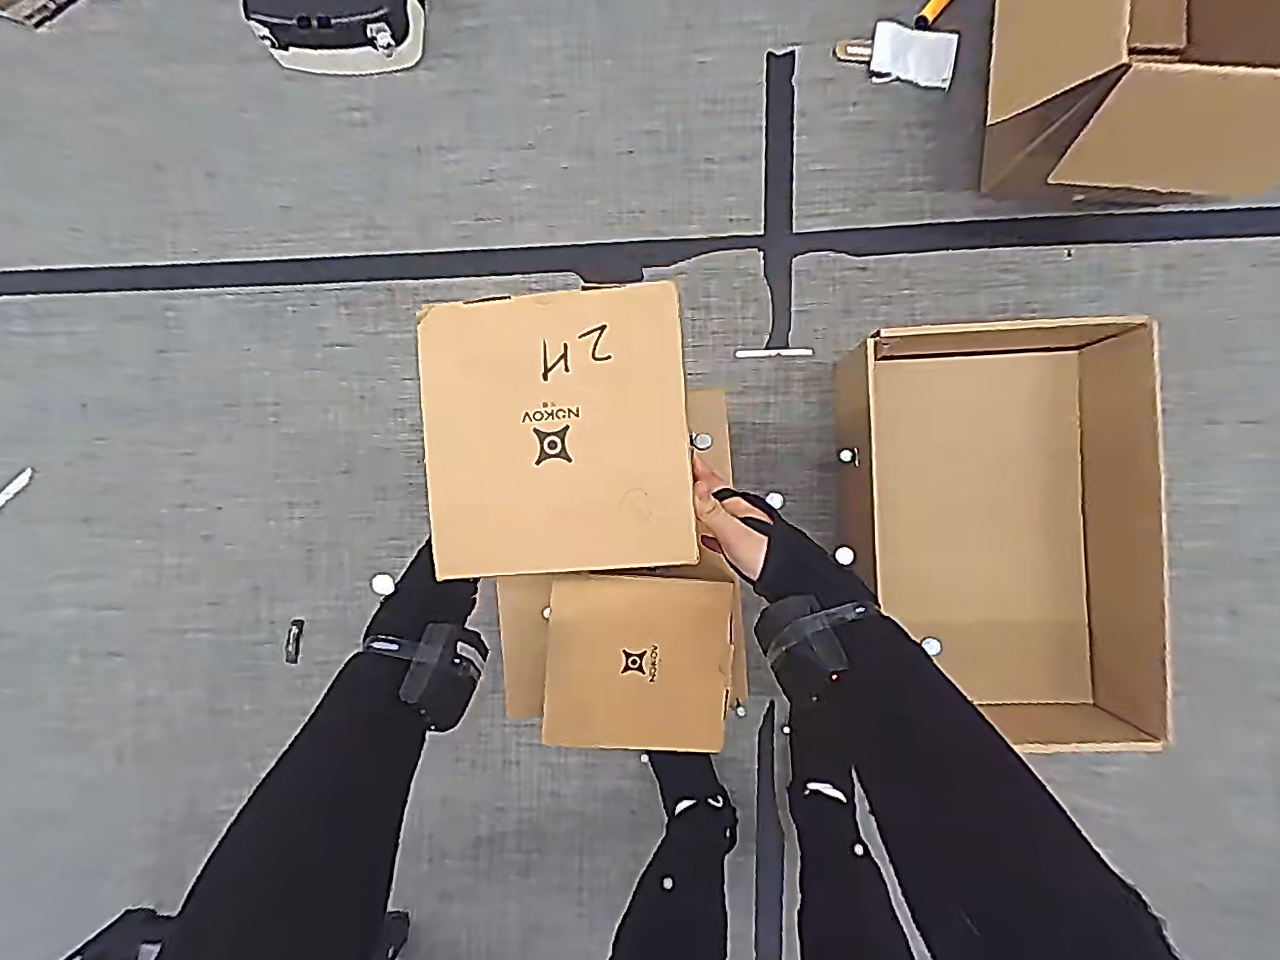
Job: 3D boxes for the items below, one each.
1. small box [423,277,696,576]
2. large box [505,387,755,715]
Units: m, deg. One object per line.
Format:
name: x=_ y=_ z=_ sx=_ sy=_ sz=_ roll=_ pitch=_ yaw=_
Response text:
small box: x=-0.044 y=-0.030 z=0.411 sx=0.168 sy=0.176 sz=0.179 roll=-4 pitch=88 yaw=4
large box: x=-0.017 y=0.090 z=0.837 sx=0.320 sy=0.320 sz=0.408 roll=-5 pitch=91 yaw=4
